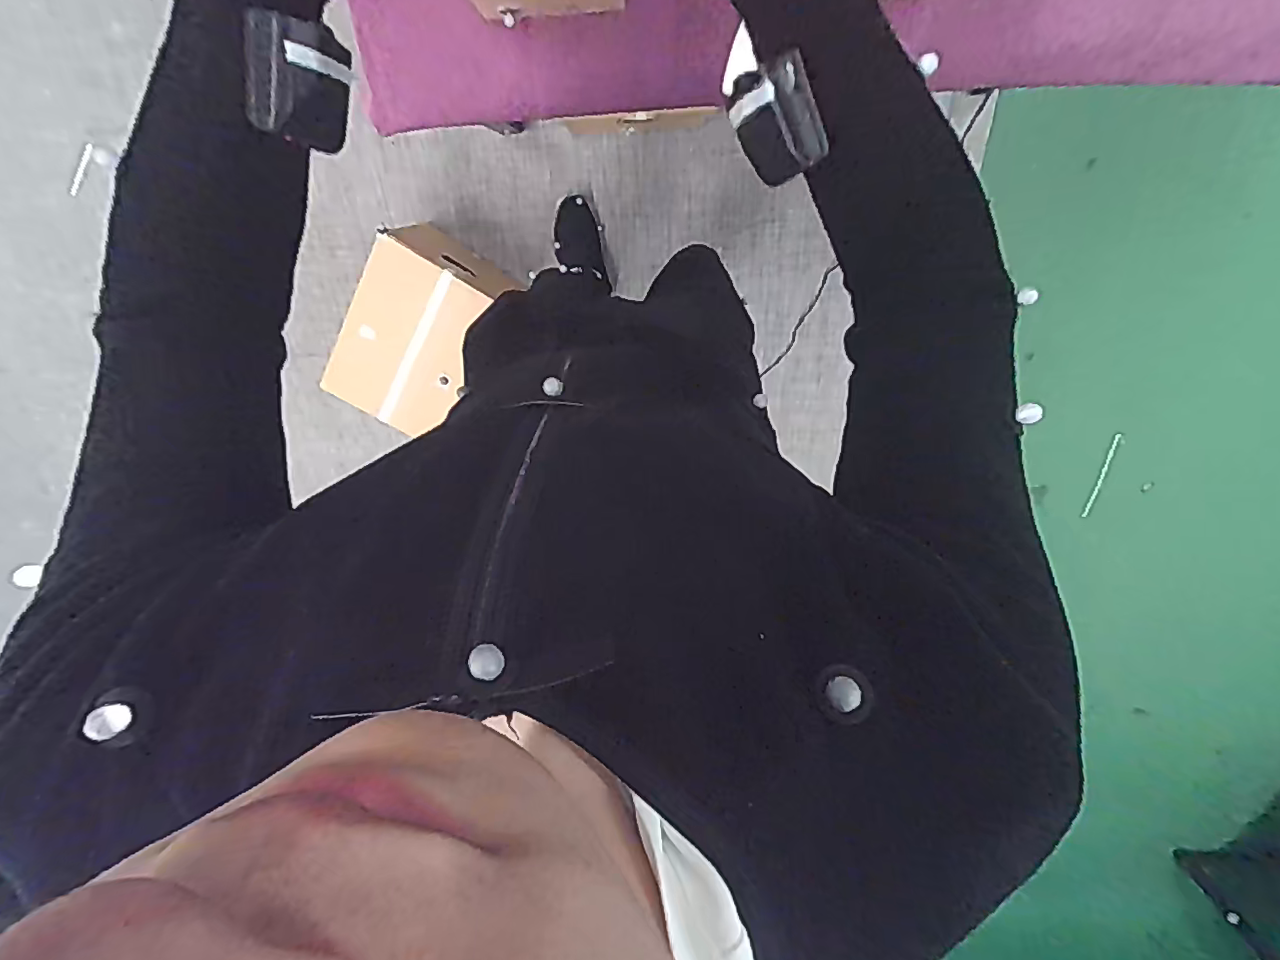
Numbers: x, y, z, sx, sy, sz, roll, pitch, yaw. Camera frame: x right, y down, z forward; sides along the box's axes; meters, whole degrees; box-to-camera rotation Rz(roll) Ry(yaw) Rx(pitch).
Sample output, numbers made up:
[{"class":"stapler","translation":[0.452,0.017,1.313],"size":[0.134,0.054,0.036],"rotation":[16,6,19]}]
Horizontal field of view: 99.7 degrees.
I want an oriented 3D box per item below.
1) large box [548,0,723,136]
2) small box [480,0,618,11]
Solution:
[{"class":"large box","translation":[-0.014,-0.942,1.072],"size":[0.320,0.320,0.408],"rotation":[-4,117,-1]},{"class":"small box","translation":[-0.102,-0.576,0.511],"size":[0.168,0.176,0.179],"rotation":[-4,117,0]}]
